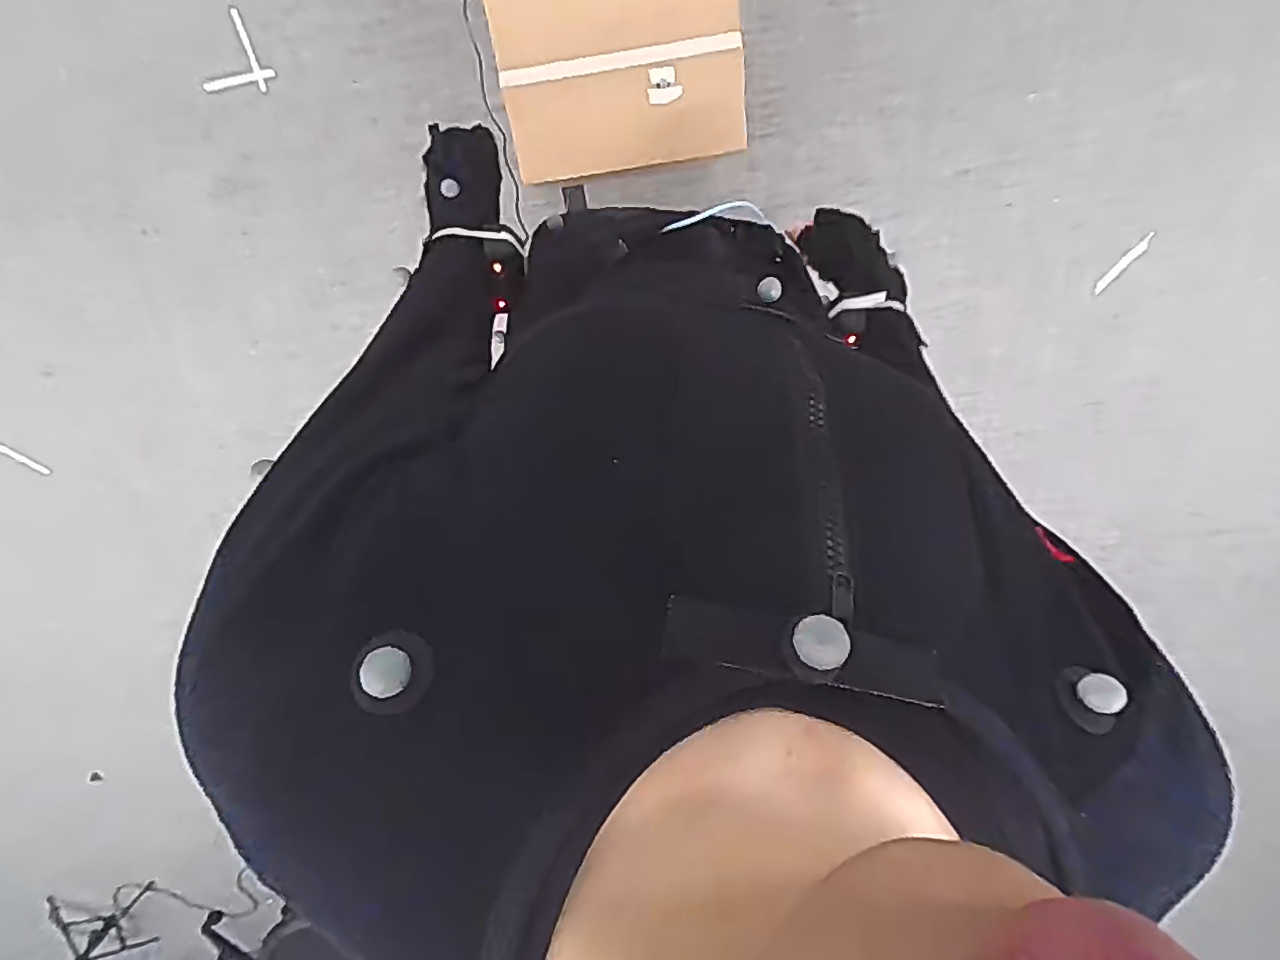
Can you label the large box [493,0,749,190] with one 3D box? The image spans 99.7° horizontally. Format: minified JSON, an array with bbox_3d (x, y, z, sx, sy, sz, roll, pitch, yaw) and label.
[{"bbox_3d":[-0.033,-0.761,1.030,0.408,0.320,0.320,-8,118,0],"label":"large box"}]
